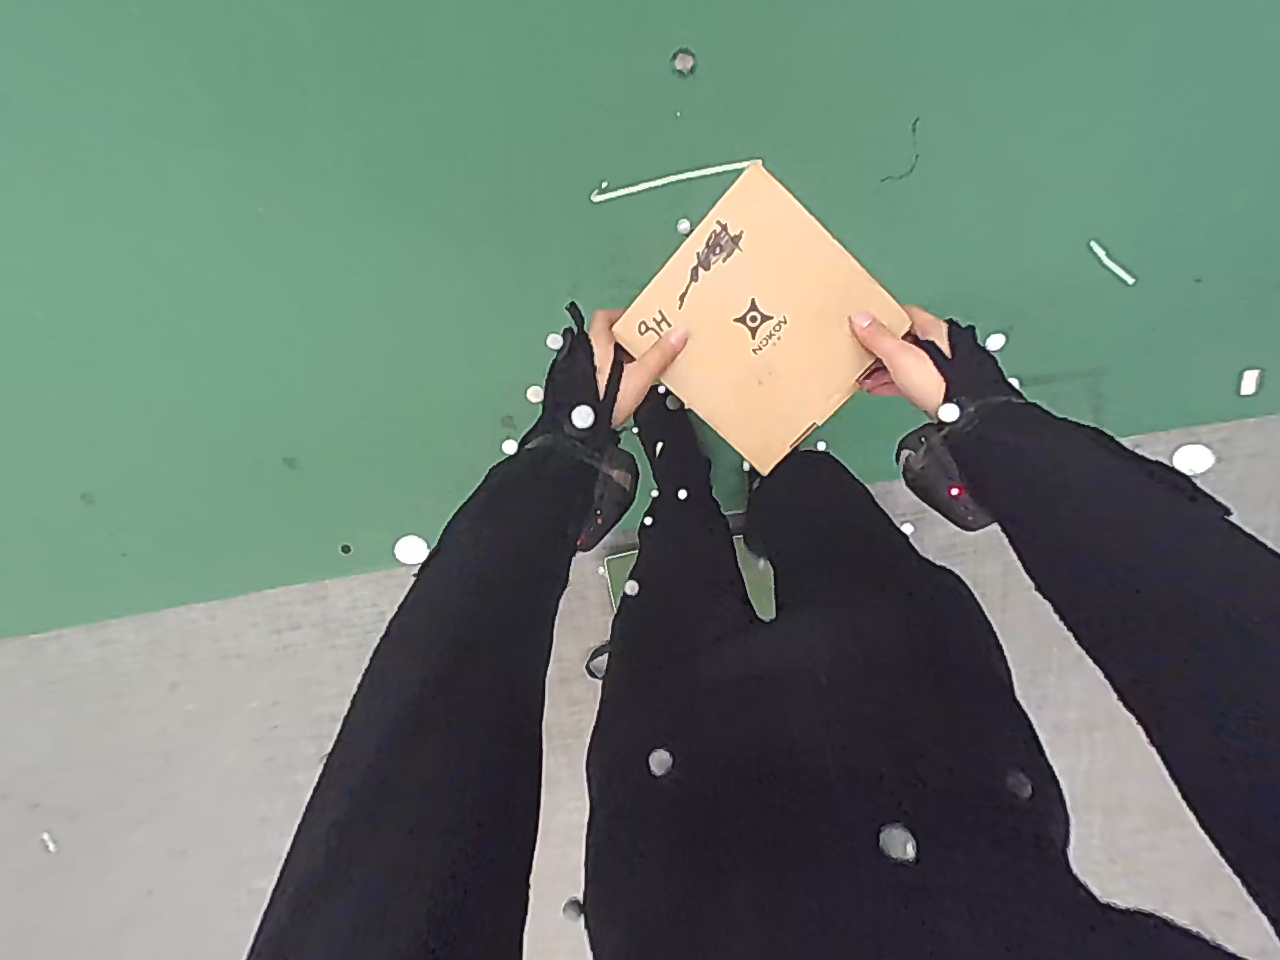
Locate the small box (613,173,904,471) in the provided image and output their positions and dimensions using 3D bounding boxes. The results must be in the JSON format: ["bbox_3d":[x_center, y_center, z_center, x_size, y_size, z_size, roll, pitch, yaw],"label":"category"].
[{"bbox_3d":[0.096,-0.138,0.507,0.179,0.176,0.168,41,101,-8],"label":"small box"}]
